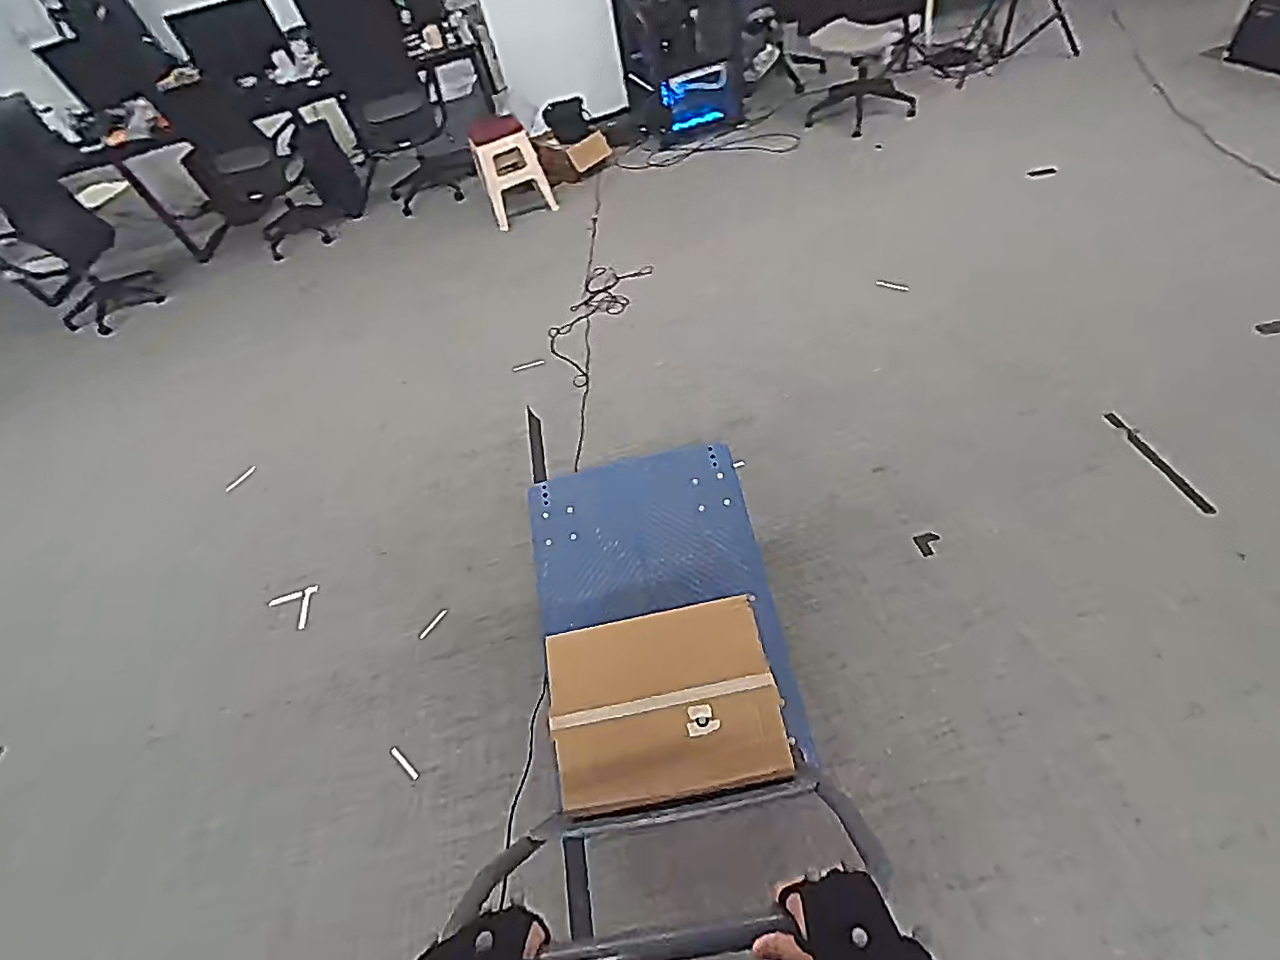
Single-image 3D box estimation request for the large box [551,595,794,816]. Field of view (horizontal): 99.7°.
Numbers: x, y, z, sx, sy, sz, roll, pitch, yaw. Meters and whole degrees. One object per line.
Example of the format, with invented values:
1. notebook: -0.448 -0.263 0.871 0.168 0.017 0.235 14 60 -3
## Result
1. large box: 0.062 0.466 1.126 0.408 0.320 0.320 -13 65 2
